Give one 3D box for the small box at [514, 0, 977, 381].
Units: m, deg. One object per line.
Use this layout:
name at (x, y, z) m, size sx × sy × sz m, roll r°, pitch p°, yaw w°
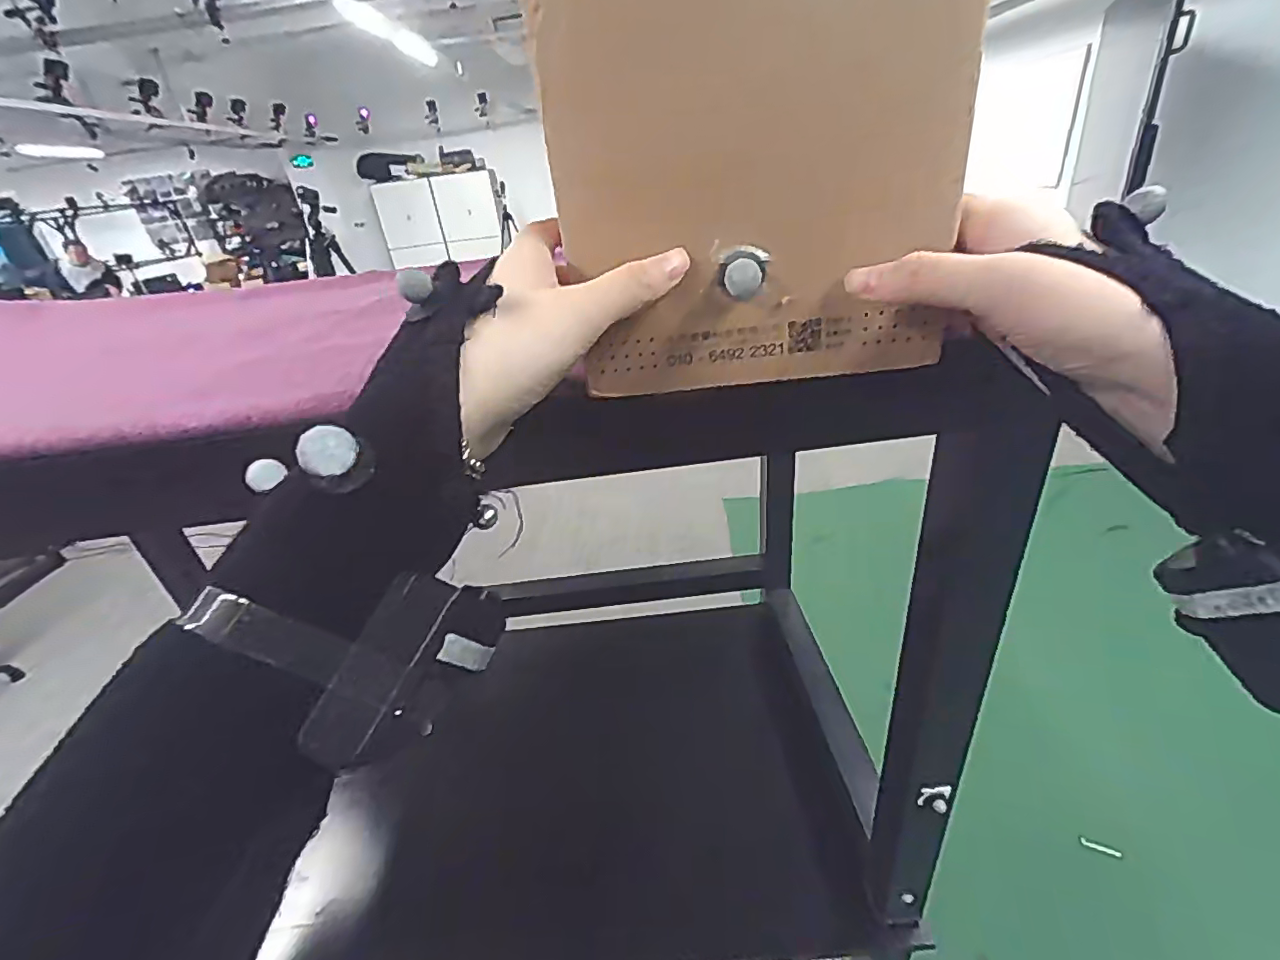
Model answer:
small box at (0.047, -0.162, 0.288) m, size 0.168 × 0.176 × 0.179 m, roll -5°, pitch 29°, yaw 8°
